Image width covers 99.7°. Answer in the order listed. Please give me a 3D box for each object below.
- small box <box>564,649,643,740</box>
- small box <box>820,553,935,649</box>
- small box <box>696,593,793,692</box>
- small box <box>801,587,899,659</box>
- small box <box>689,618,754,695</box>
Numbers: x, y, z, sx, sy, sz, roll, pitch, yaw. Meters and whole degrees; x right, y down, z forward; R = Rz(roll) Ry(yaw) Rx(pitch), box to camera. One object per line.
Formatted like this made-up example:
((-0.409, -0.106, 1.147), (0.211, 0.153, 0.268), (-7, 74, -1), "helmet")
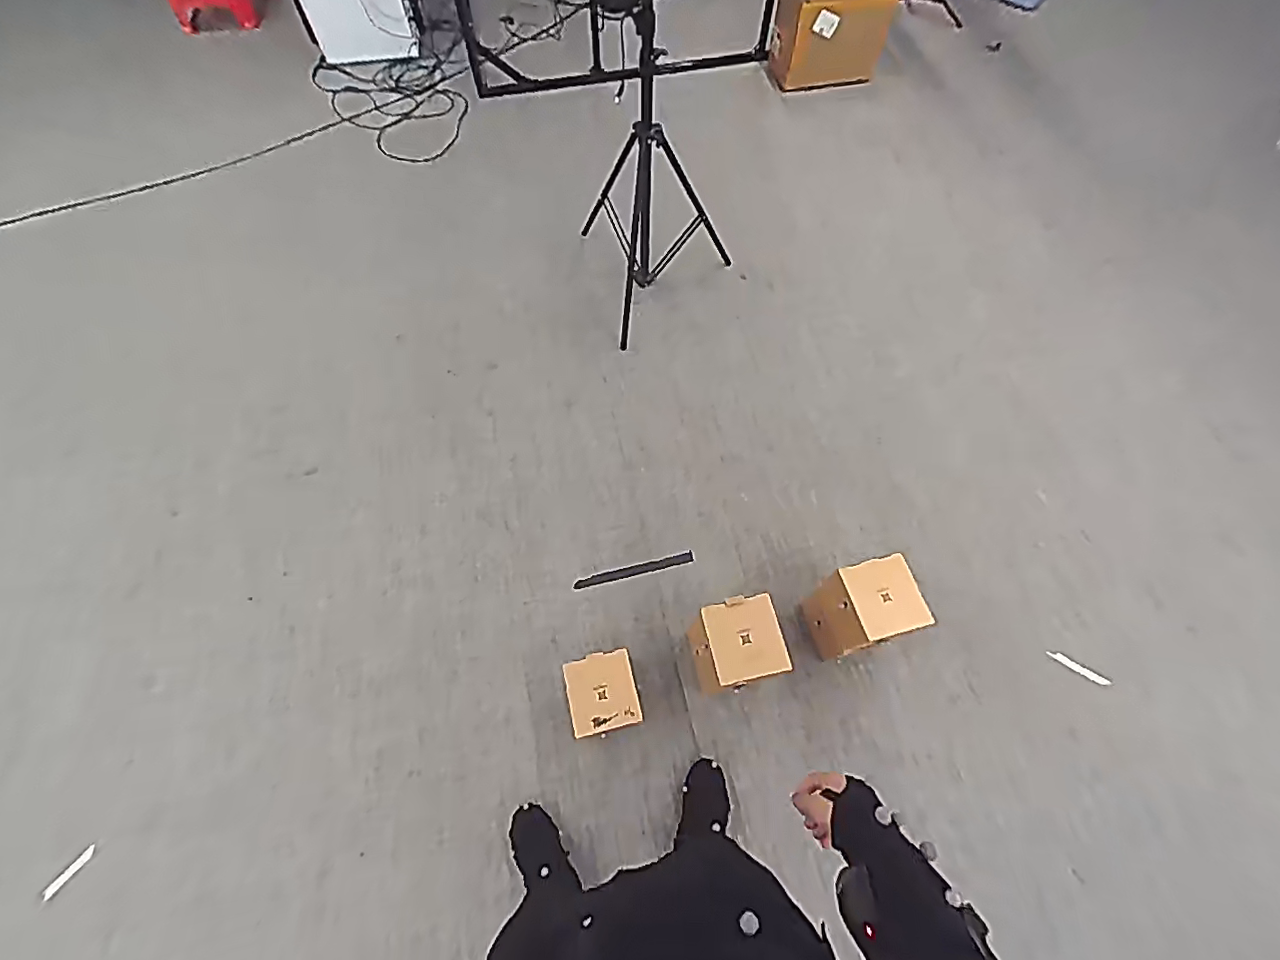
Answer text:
((-0.091, 0.545, 1.366), (0.168, 0.176, 0.179), (-13, 64, -6), "small box")
((0.563, 0.301, 1.308), (0.168, 0.176, 0.179), (-13, 64, -7), "small box")
((0.233, 0.383, 1.262), (0.168, 0.176, 0.179), (-11, 65, -5), "small box")
((0.558, 0.373, 1.454), (0.168, 0.176, 0.179), (-14, 64, -7), "small box")
((0.229, 0.449, 1.413), (0.168, 0.176, 0.179), (-11, 65, -6), "small box")
